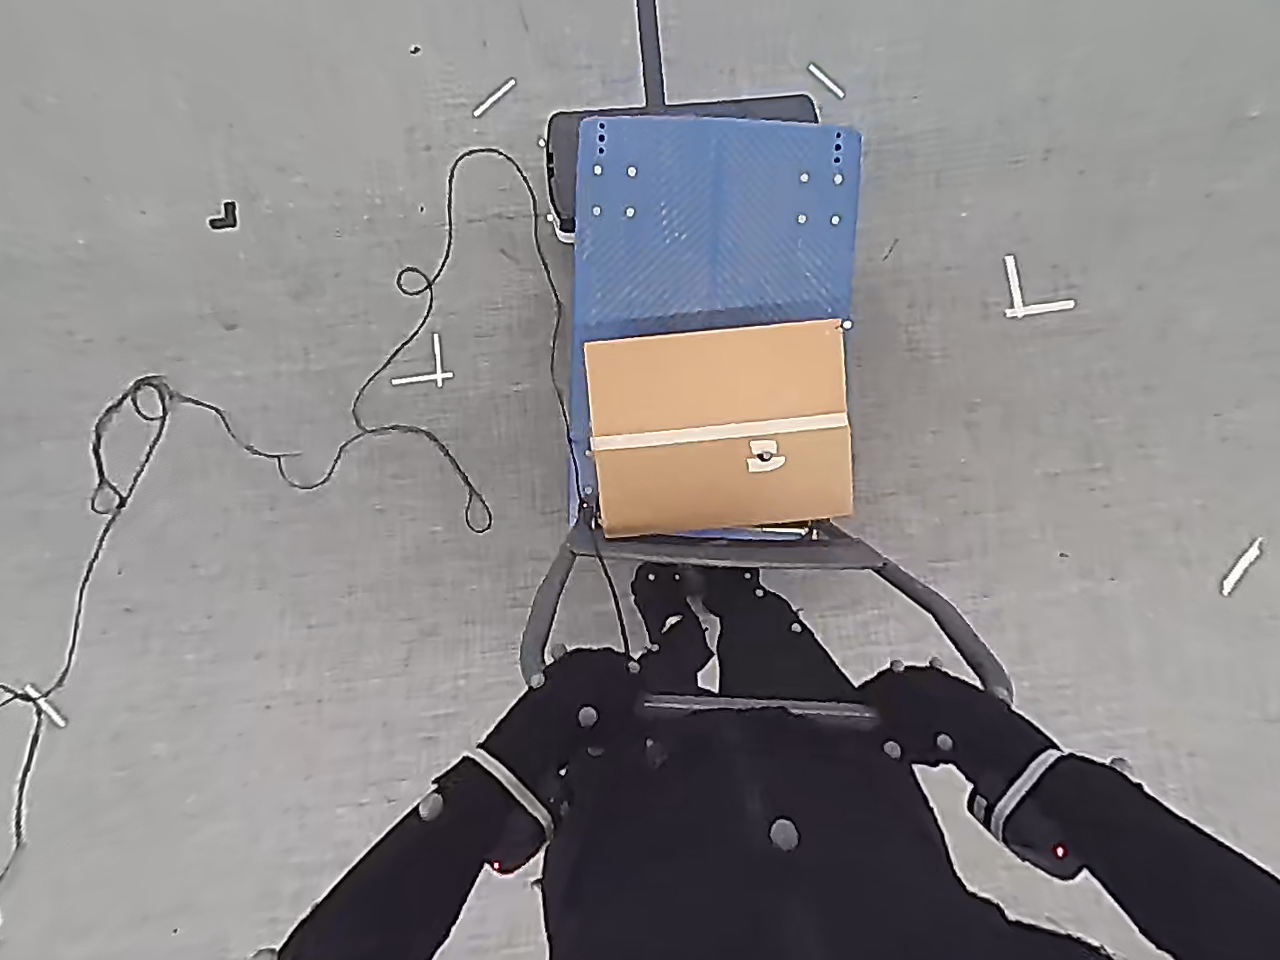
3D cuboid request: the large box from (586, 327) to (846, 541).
[{"bbox_3d":[0.123,-0.084,1.024,0.408,0.320,0.320,-6,96,0],"label":"large box"}]
